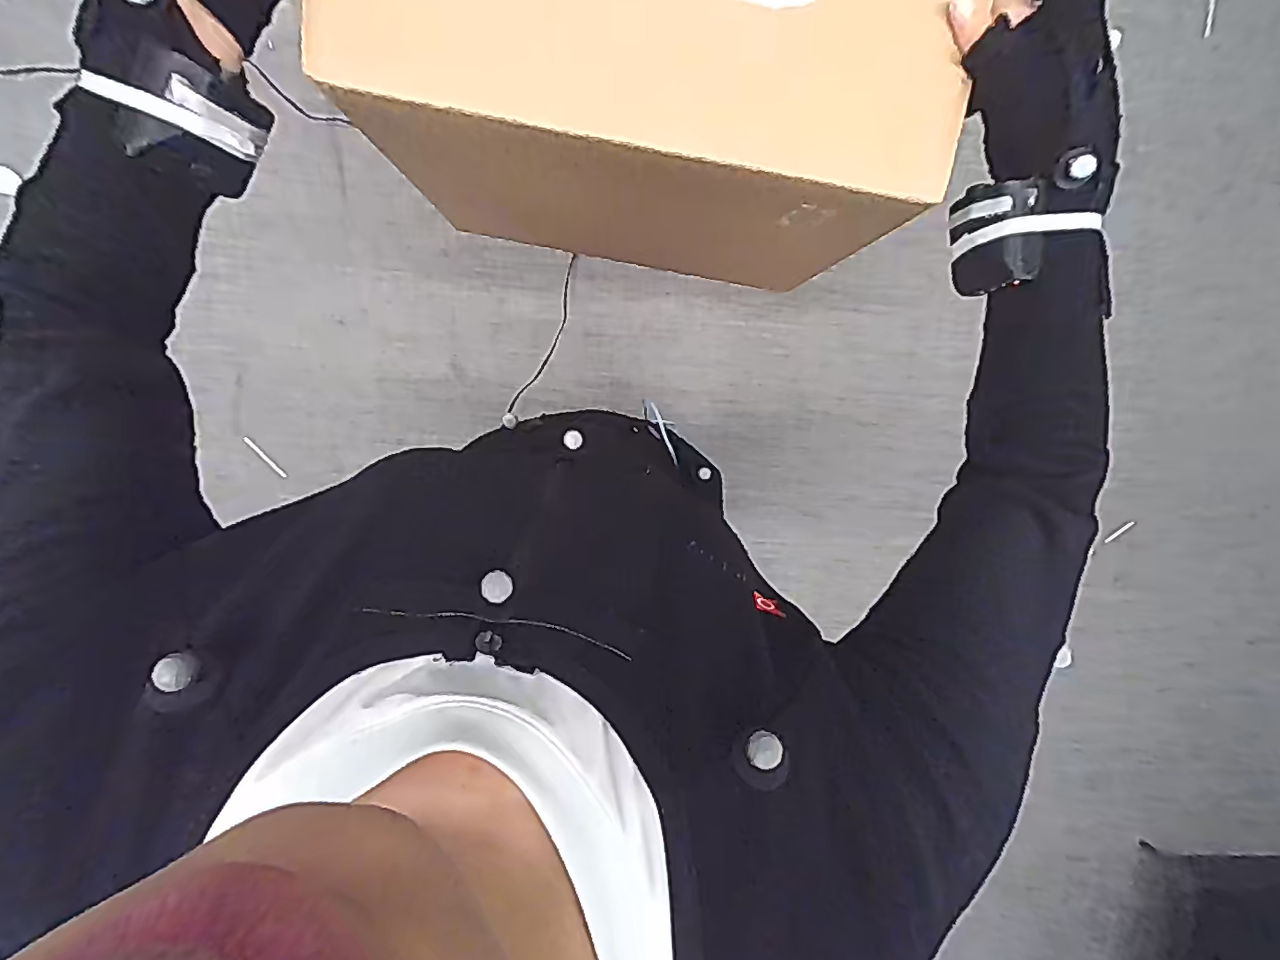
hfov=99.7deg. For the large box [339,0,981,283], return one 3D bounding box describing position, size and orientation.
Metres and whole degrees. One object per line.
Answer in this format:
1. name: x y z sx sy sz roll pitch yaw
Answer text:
1. large box: 0.020 -0.389 0.475 0.408 0.320 0.320 9 99 -4
